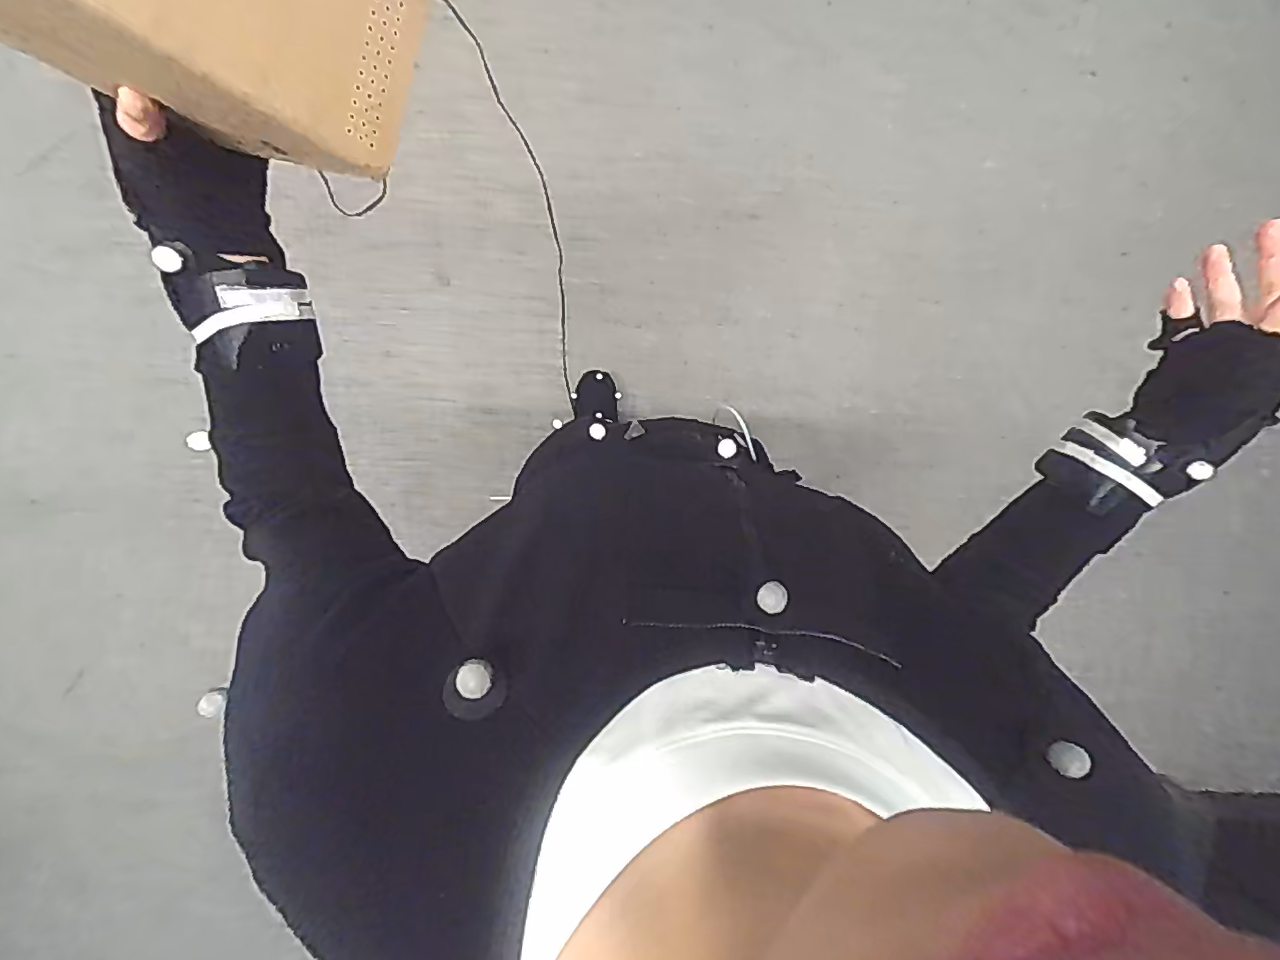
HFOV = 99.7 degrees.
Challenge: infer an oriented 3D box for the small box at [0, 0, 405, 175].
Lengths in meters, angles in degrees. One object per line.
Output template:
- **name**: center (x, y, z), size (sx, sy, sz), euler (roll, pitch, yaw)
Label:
- **small box**: center (-0.206, -0.257, 0.207), size (0.168, 0.176, 0.179), euler (22, 100, 18)
